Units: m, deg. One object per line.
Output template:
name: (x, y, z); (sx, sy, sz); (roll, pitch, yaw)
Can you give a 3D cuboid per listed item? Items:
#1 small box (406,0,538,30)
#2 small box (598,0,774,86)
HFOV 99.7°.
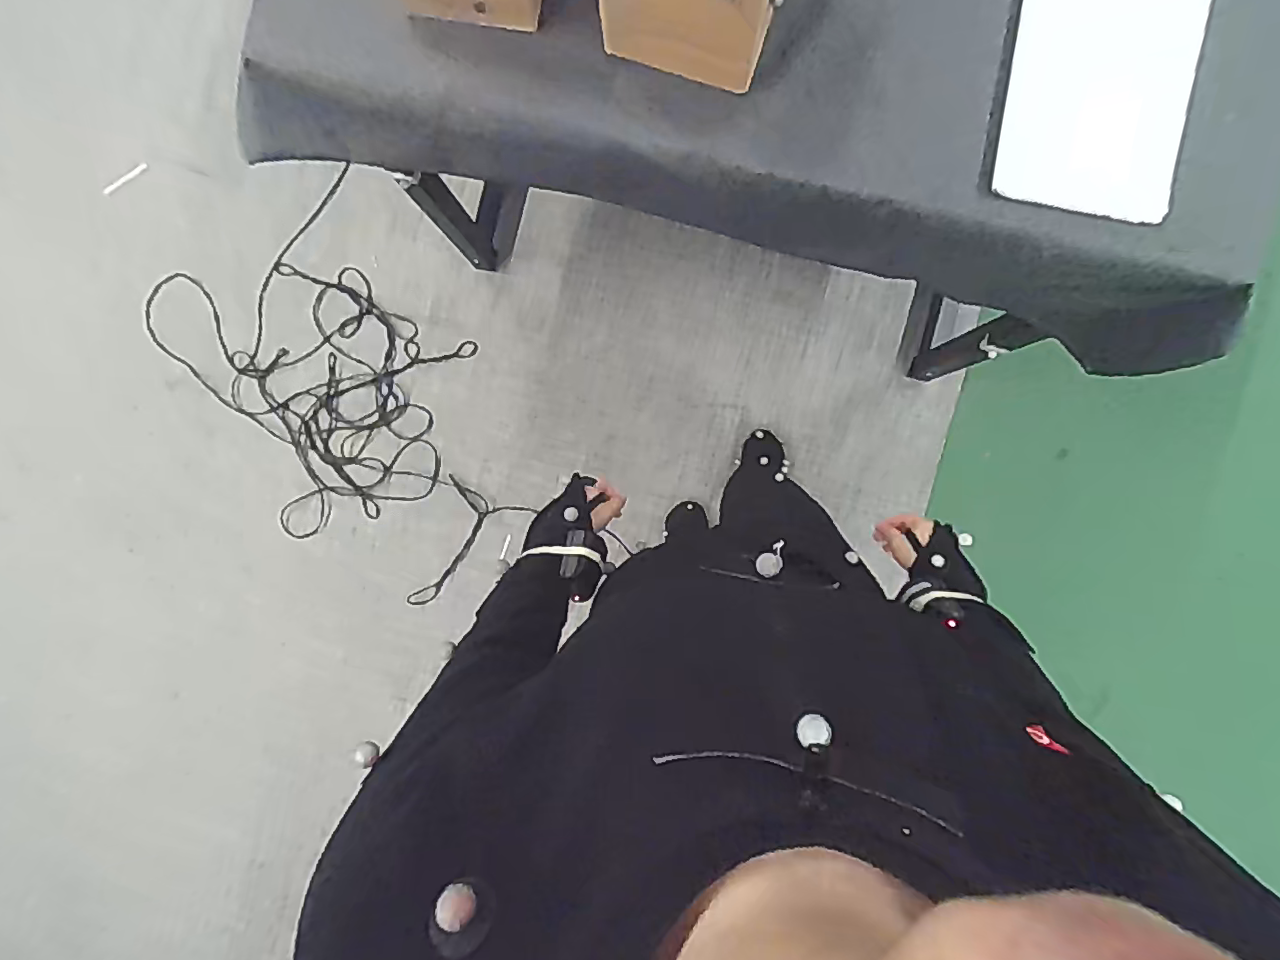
small box: (-0.192, -0.620, 0.558); (0.168, 0.176, 0.179); (9, 89, 1)
small box: (0.057, -0.550, 0.548); (0.179, 0.176, 0.168); (18, 90, 2)
